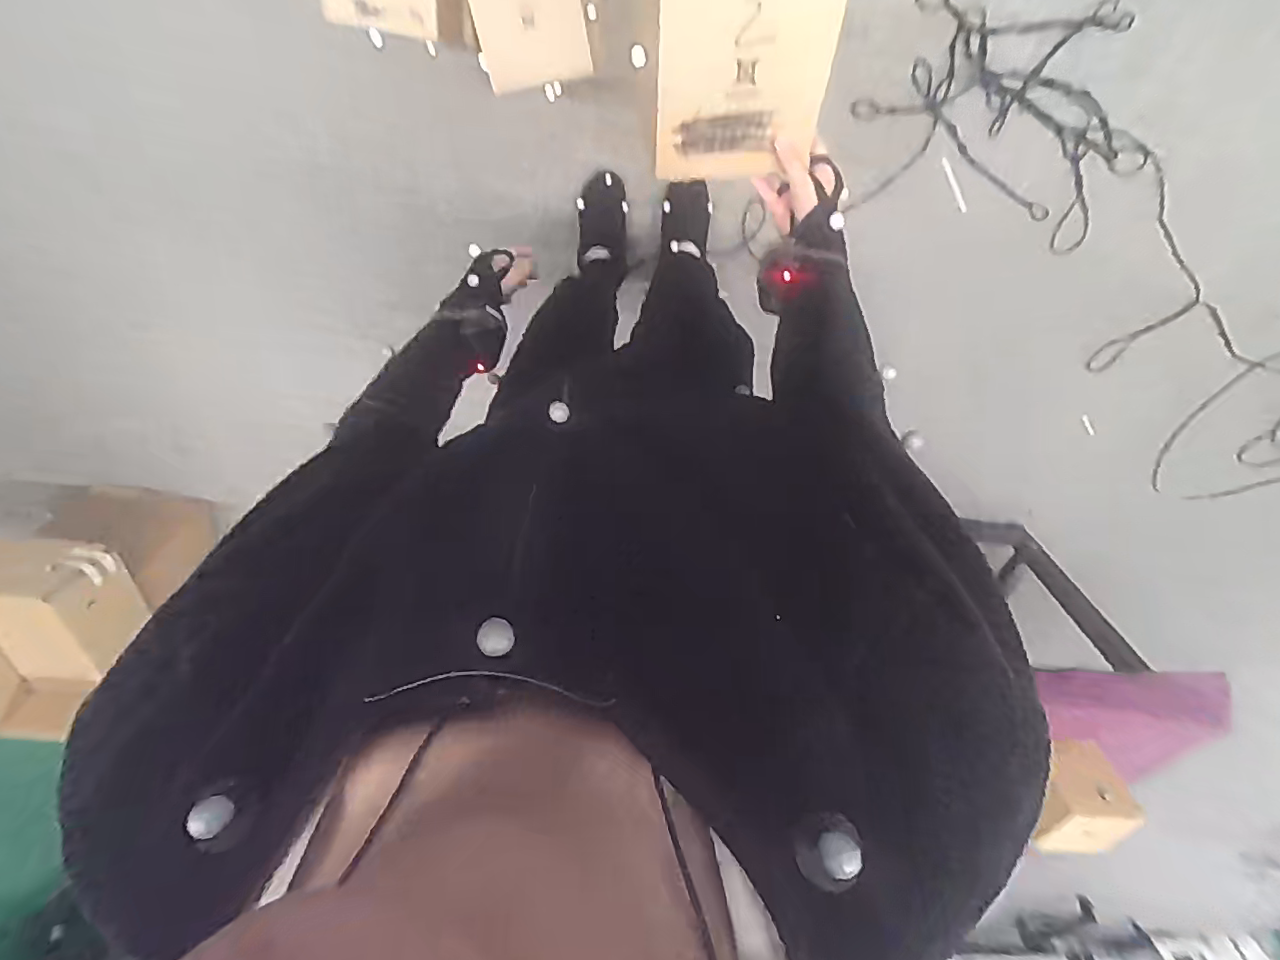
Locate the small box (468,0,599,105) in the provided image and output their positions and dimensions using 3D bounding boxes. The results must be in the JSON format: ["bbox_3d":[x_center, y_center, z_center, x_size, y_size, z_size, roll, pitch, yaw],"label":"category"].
[{"bbox_3d":[-0.164,-0.722,0.869,0.168,0.176,0.179,-8,124,5],"label":"small box"}]

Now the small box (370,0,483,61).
[{"bbox_3d":[-0.366,-0.866,0.965,0.179,0.176,0.168,7,124,-4],"label":"small box"}]

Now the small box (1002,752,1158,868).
[{"bbox_3d":[0.964,0.733,1.208,0.179,0.176,0.168,5,124,-5],"label":"small box"}]
